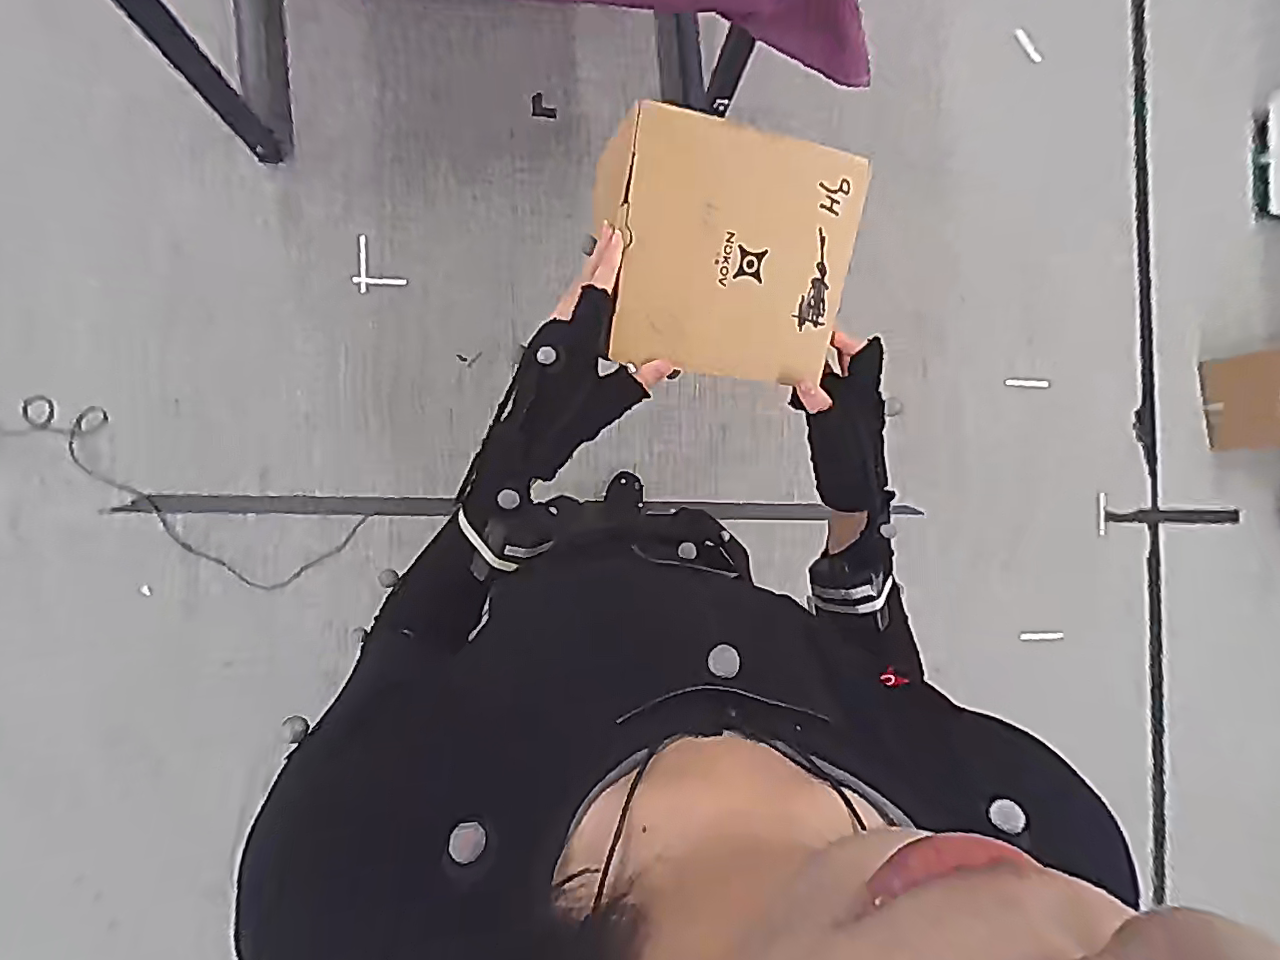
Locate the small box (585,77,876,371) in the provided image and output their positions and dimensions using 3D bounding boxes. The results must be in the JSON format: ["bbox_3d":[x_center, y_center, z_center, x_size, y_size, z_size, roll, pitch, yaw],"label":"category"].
[{"bbox_3d":[0.053,-0.191,0.451,0.179,0.176,0.168,4,107,-14],"label":"small box"}]
